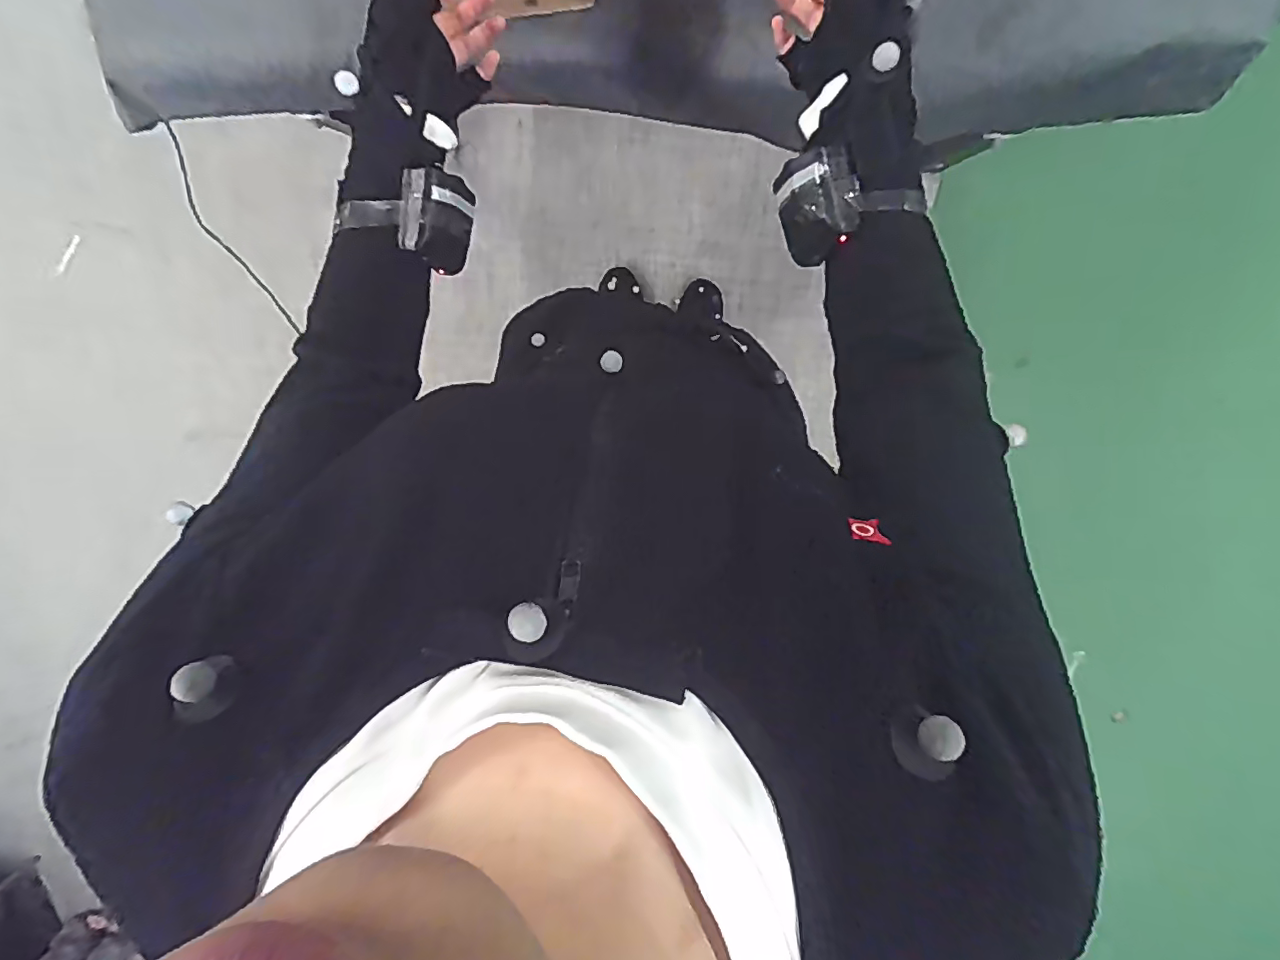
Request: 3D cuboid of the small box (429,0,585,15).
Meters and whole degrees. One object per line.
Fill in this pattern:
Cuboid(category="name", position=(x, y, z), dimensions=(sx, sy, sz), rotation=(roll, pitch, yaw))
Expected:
Cuboid(category="small box", position=(-0.139, -0.530, 0.452), dimensions=(0.168, 0.176, 0.179), rotation=(-1, 108, 6))
